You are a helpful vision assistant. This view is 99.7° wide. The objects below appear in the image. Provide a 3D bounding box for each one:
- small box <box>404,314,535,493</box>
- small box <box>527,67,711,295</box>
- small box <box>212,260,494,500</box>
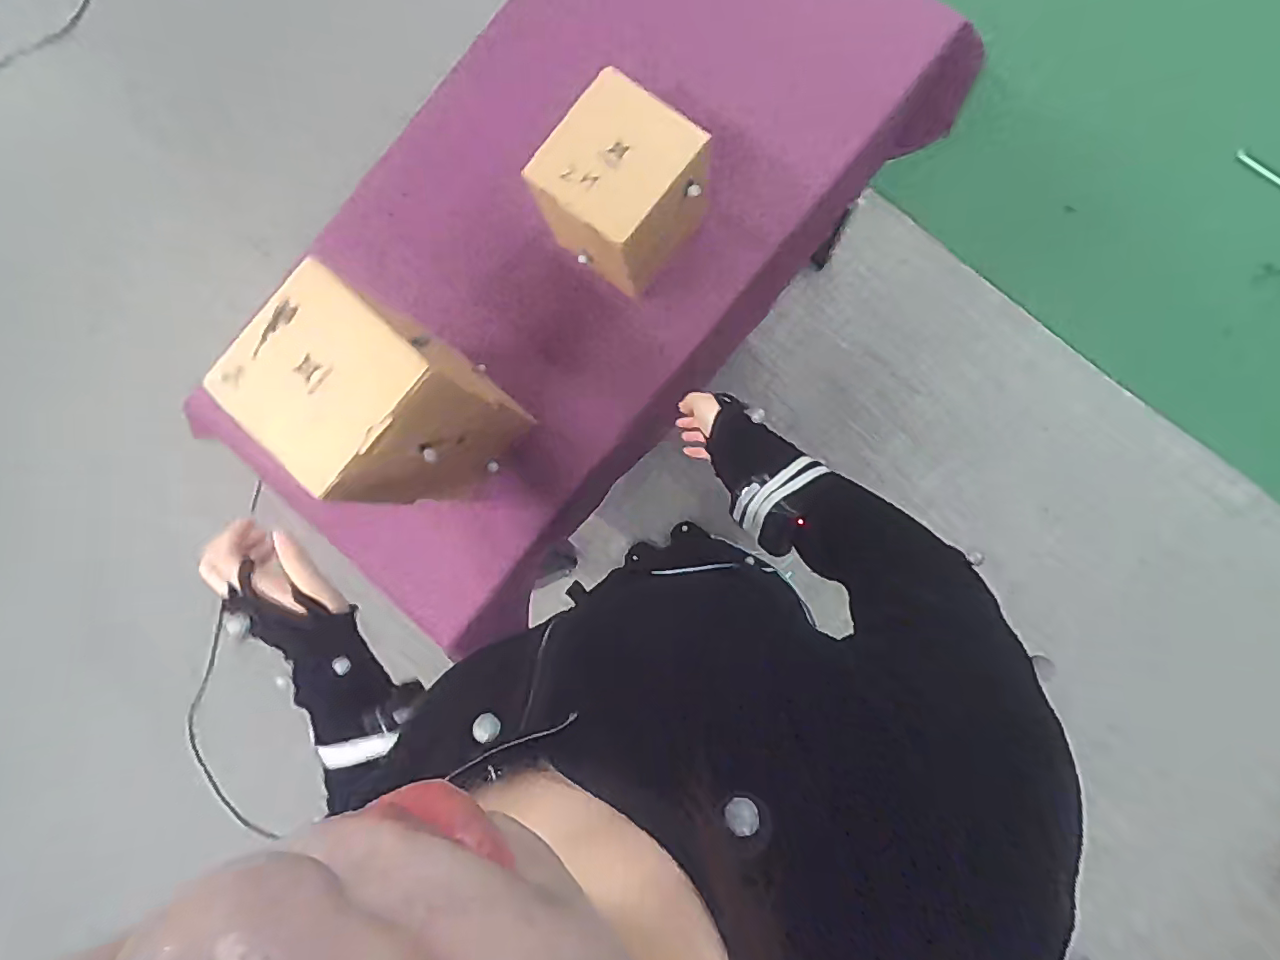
[{"bbox_3d":[-0.279,-0.092,0.759,0.179,0.176,0.168,41,92,7],"label":"small box"},{"bbox_3d":[-0.021,-0.396,0.746,0.168,0.176,0.179,39,92,8],"label":"small box"},{"bbox_3d":[-0.295,-0.095,0.596,0.179,0.176,0.168,41,91,7],"label":"small box"}]
